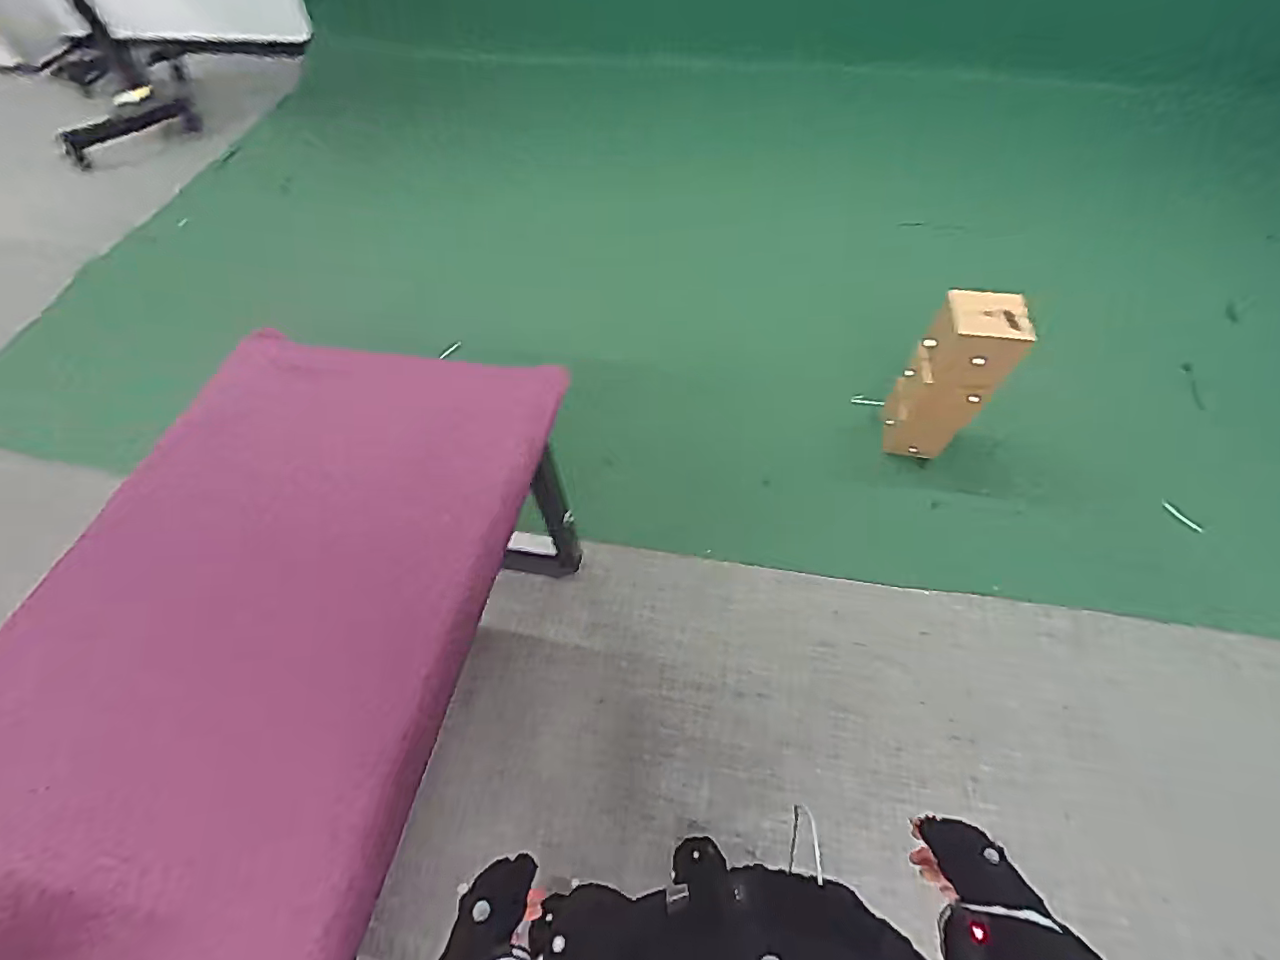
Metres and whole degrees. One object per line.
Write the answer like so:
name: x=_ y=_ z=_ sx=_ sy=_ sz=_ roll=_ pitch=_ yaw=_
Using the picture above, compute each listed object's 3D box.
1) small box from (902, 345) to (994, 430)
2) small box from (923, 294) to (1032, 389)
small box: x=0.864 y=-0.260 z=1.541 sx=0.179 sy=0.176 sz=0.168 roll=8 pitch=59 yaw=7
small box: x=0.867 y=-0.355 z=1.406 sx=0.179 sy=0.176 sz=0.168 roll=6 pitch=58 yaw=6
